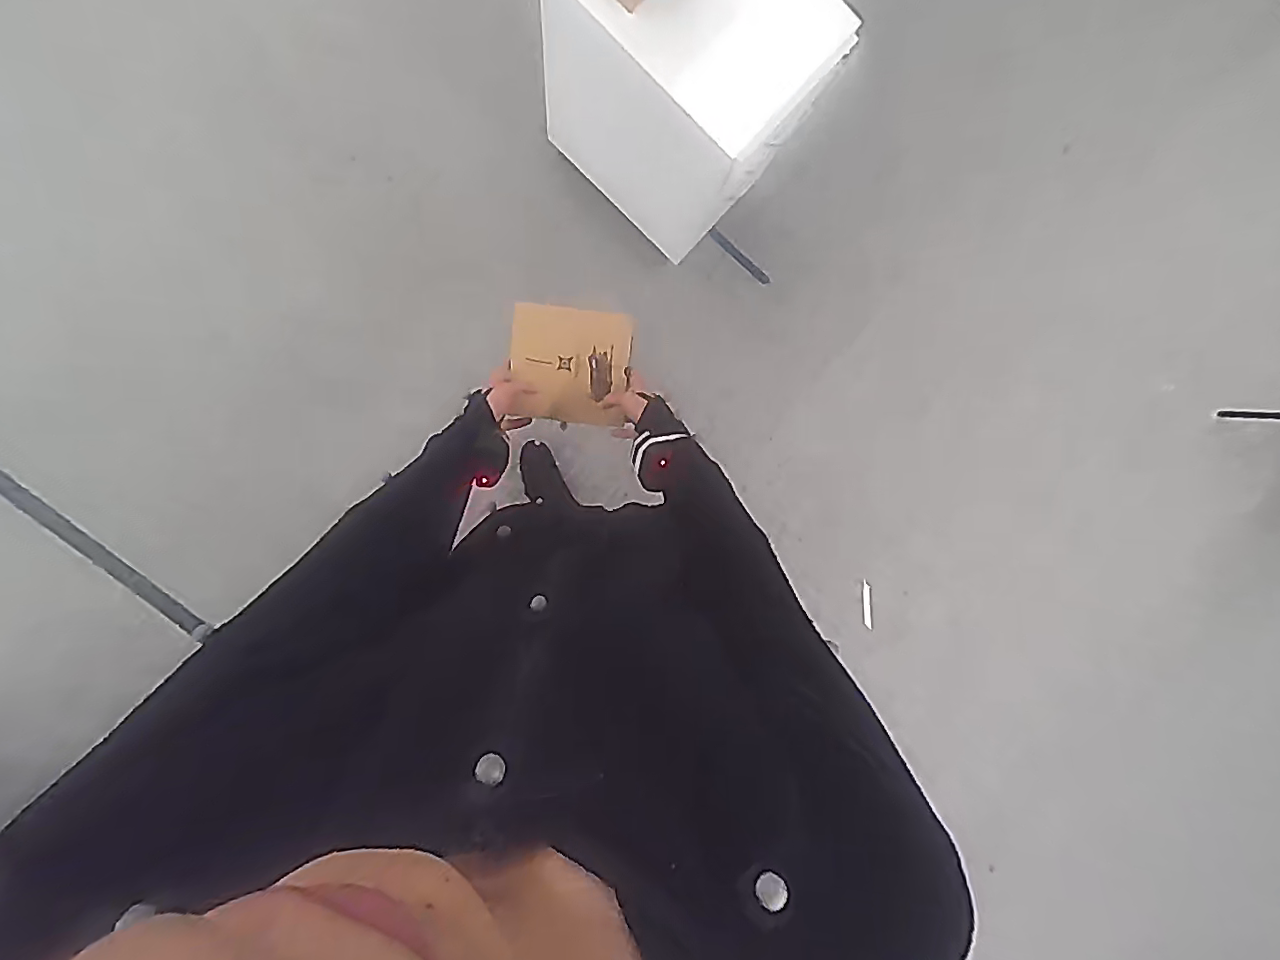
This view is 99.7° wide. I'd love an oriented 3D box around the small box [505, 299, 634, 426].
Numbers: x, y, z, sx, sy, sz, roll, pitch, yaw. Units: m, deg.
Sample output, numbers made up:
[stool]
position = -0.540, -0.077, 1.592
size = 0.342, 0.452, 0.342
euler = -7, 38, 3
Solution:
[small box]
position = -0.106, -0.181, 0.862
size = 0.179, 0.176, 0.168
euler = 6, 98, -2
